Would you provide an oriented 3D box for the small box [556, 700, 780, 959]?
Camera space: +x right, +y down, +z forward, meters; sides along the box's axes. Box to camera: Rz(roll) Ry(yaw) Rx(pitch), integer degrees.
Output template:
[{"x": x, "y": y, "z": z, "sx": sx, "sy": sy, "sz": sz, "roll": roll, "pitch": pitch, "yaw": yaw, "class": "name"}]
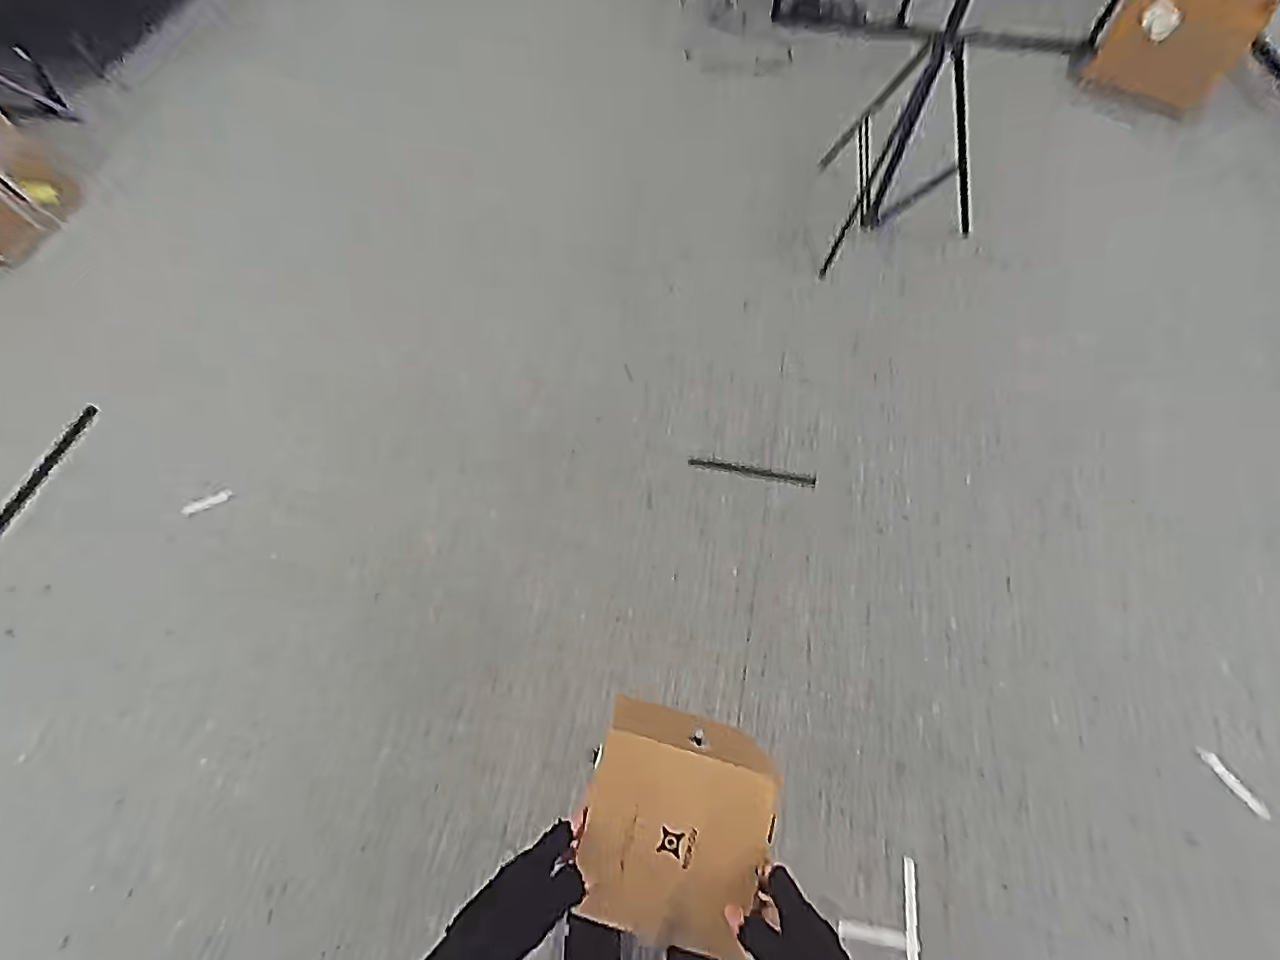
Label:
[{"x": 0.028, "y": 0.352, "z": 0.579, "sx": 0.179, "sy": 0.176, "sz": 0.168, "roll": 16, "pitch": 79, "yaw": 3, "class": "small box"}]
